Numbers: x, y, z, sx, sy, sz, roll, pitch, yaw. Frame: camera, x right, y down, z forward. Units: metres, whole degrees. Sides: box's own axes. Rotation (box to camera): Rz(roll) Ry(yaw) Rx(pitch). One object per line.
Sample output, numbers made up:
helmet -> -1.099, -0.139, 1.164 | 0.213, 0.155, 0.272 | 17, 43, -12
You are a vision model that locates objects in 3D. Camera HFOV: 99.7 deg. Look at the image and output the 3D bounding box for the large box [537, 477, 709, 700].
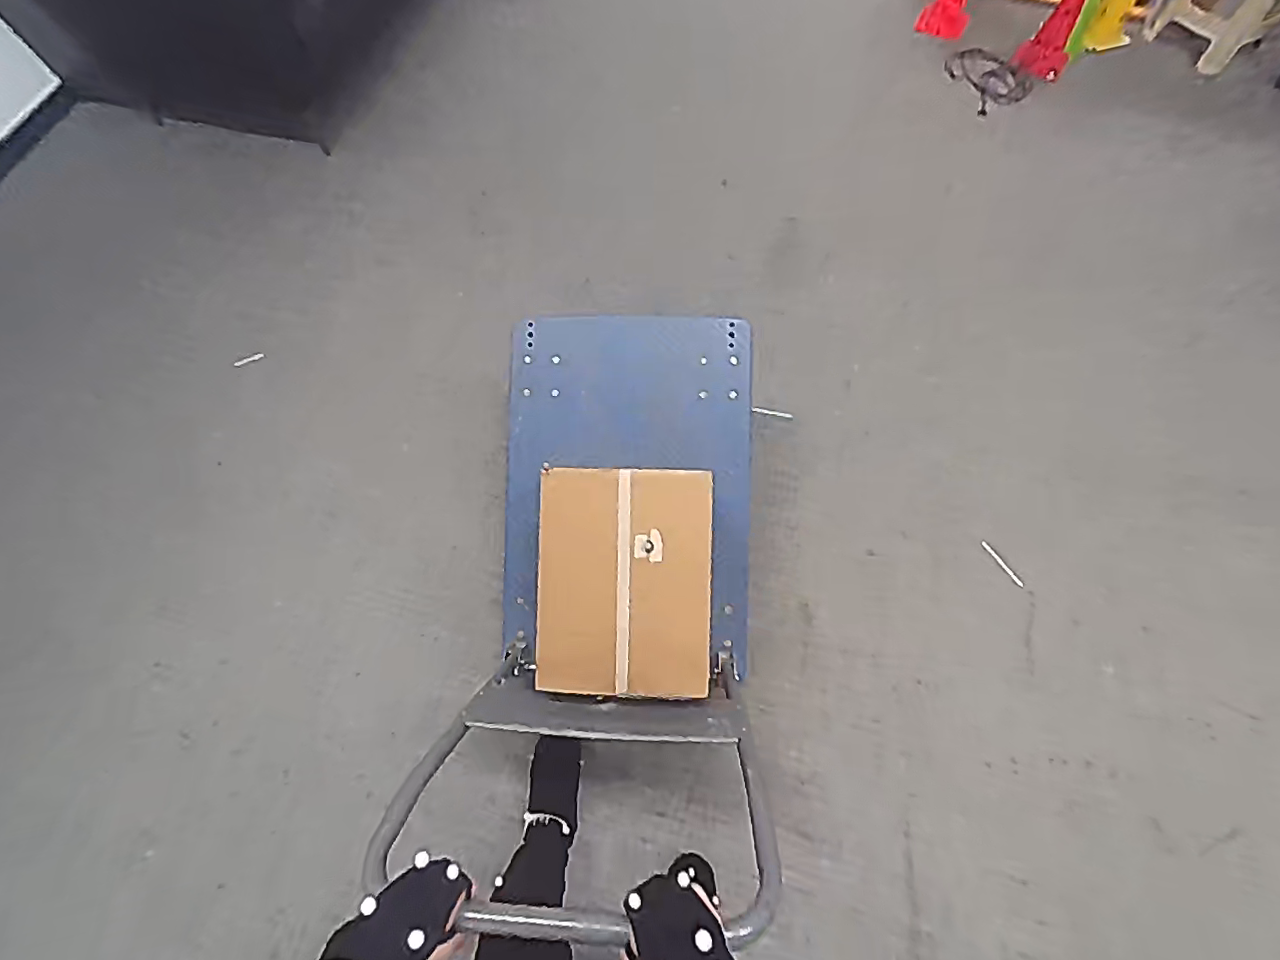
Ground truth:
large box -> -0.022, 0.205, 1.127 | 0.320, 0.320, 0.408 | 0, 87, 3
